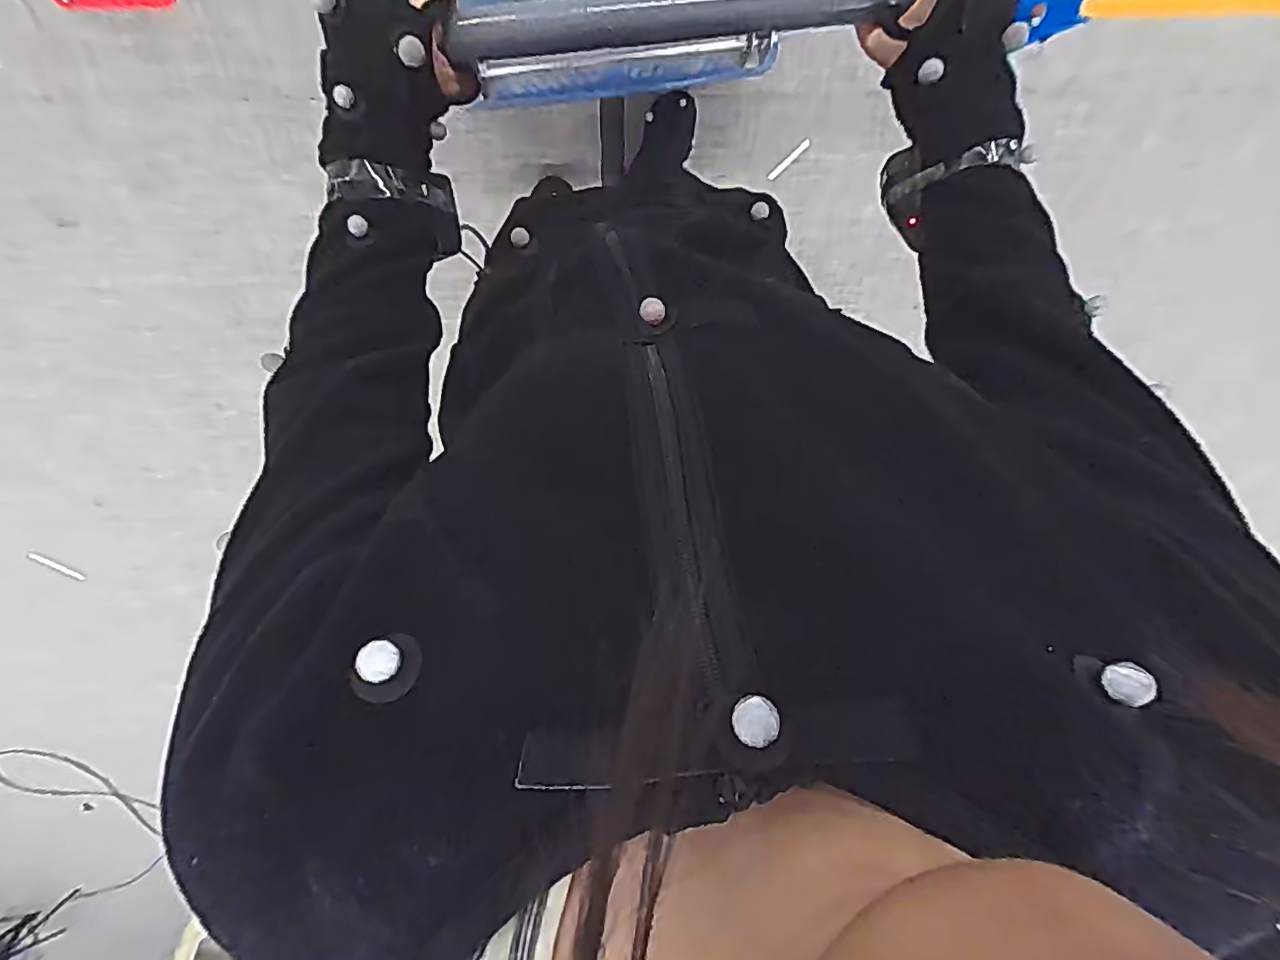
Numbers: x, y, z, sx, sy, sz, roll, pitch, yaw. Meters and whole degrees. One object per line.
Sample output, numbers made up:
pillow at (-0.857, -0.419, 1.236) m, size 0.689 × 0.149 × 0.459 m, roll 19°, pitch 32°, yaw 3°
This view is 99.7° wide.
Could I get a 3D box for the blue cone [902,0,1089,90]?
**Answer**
blue cone at (0.648, -0.820, 0.955) m, size 0.193 × 0.380 × 0.192 m, roll -7°, pitch 123°, yaw -4°
